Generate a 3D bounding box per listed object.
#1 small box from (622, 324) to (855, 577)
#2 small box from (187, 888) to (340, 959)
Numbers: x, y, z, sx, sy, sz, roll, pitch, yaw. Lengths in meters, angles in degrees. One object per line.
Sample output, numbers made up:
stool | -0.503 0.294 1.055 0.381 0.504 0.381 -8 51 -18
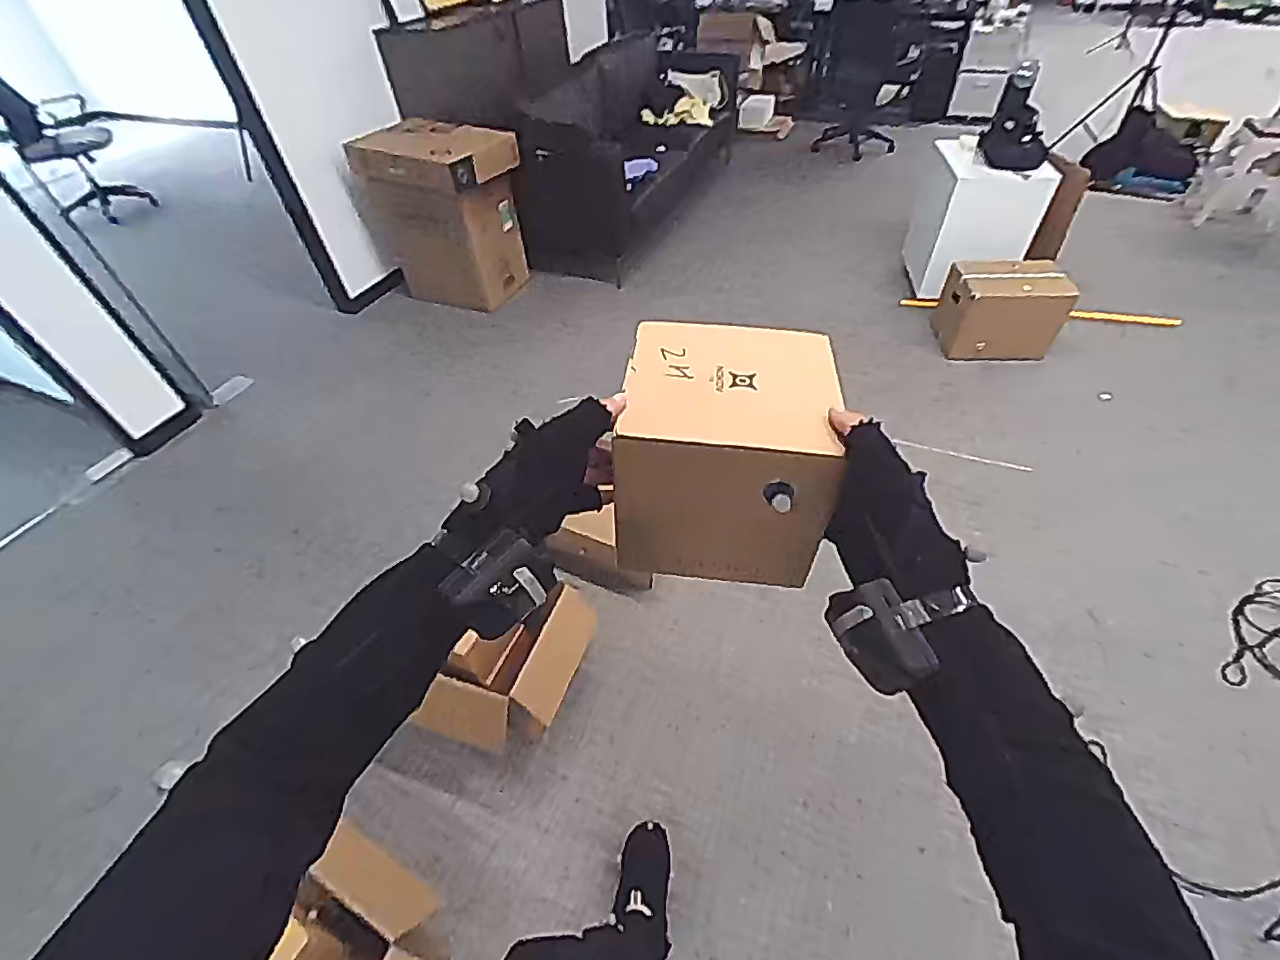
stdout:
small box | 0.081 -0.025 0.514 0.179 0.176 0.168 6 45 4
small box | -0.639 0.835 0.902 0.168 0.176 0.179 19 49 21
